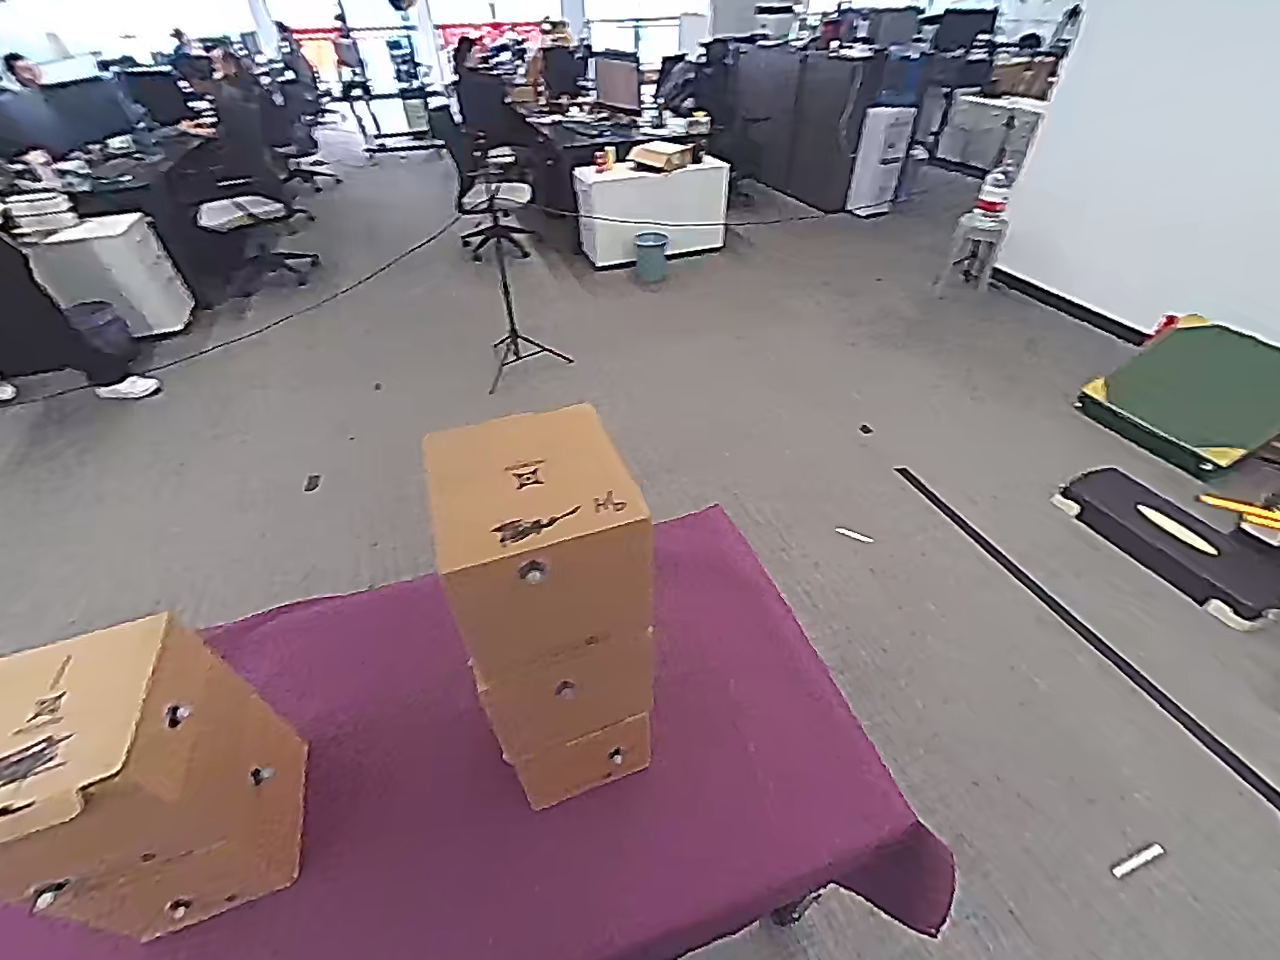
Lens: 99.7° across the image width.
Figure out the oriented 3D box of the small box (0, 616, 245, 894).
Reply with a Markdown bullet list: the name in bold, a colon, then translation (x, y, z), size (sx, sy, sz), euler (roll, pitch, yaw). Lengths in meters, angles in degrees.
- **small box**: translation (-0.528, 0.273, 0.536), size (0.168, 0.176, 0.179), euler (-16, 44, -16)

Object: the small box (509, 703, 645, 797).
- **small box**: translation (-0.095, 0.301, 0.737), size (0.168, 0.176, 0.179), euler (-14, 43, -14)

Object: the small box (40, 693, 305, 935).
- **small box**: translation (-0.525, 0.395, 0.646), size (0.168, 0.176, 0.179), euler (-15, 45, -15)

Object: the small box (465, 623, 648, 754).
- **small box**: translation (-0.097, 0.182, 0.624), size (0.179, 0.176, 0.168), euler (-15, 45, -15)

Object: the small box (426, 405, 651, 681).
- **small box**: translation (-0.096, 0.056, 0.519), size (0.168, 0.176, 0.179), euler (-15, 44, -14)
